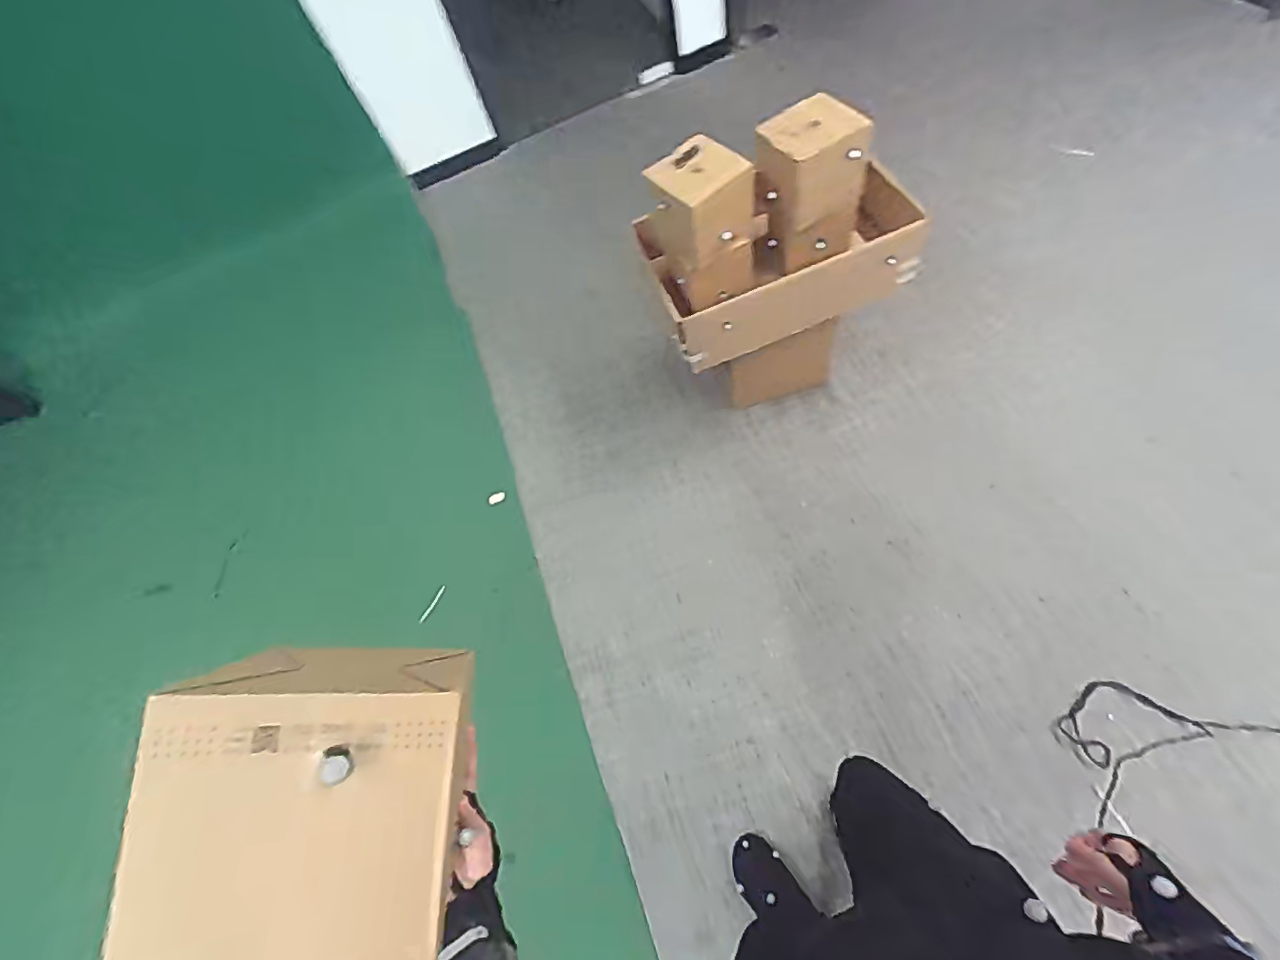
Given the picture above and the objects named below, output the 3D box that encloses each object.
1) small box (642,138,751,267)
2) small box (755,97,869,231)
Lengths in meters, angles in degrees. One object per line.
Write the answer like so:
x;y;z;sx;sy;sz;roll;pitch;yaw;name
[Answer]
0.130;-0.616;1.211;0.168;0.176;0.179;-38;62;-7;small box
0.371;-0.695;1.197;0.179;0.176;0.168;-29;59;-3;small box
